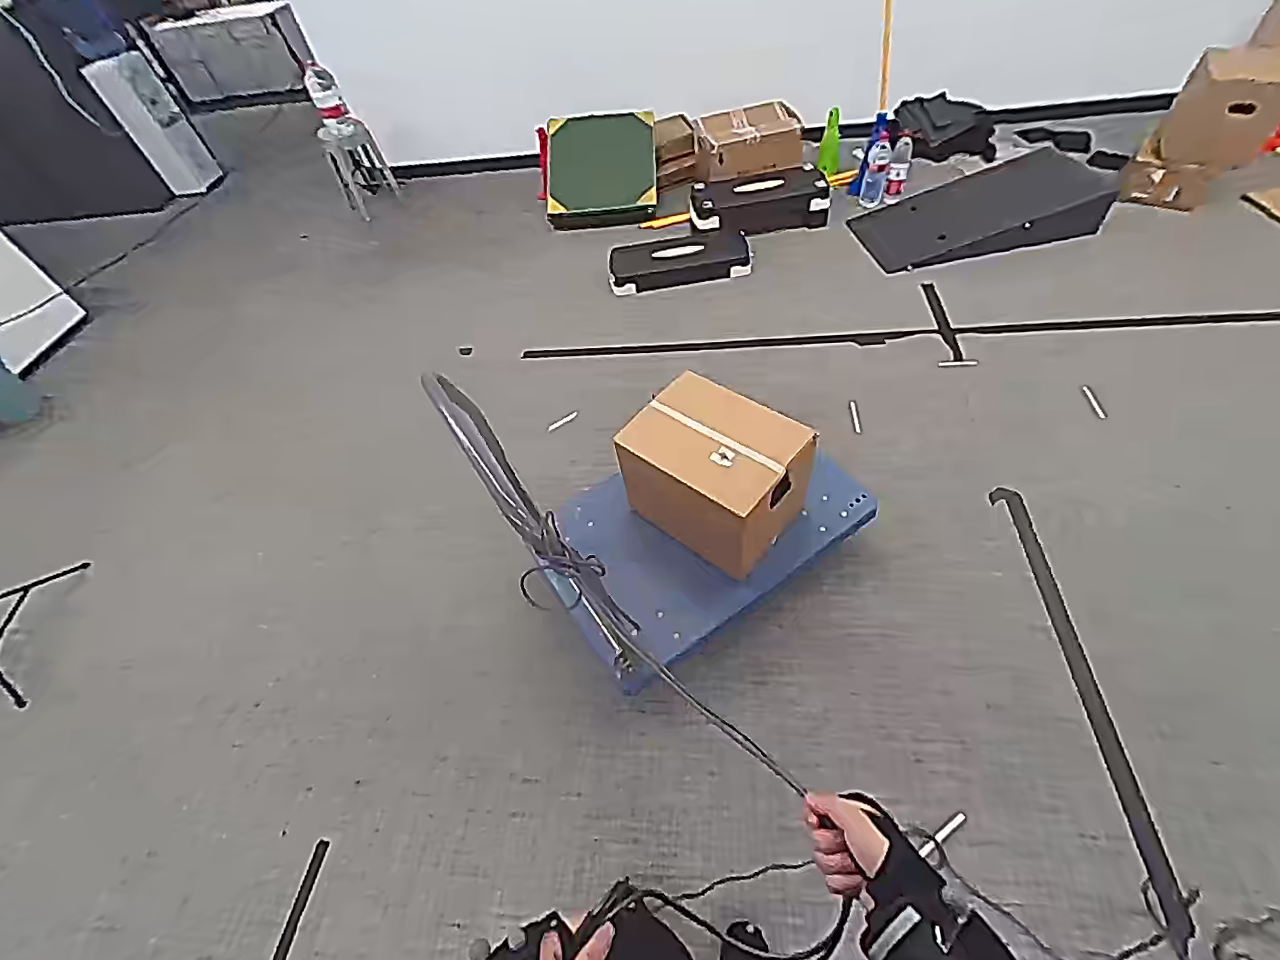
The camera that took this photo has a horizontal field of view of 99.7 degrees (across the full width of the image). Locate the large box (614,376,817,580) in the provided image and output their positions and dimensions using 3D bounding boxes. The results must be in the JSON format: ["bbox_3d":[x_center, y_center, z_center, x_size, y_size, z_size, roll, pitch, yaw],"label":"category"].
[{"bbox_3d":[0.192,-0.010,1.439,0.408,0.320,0.320,32,64,27],"label":"large box"}]
